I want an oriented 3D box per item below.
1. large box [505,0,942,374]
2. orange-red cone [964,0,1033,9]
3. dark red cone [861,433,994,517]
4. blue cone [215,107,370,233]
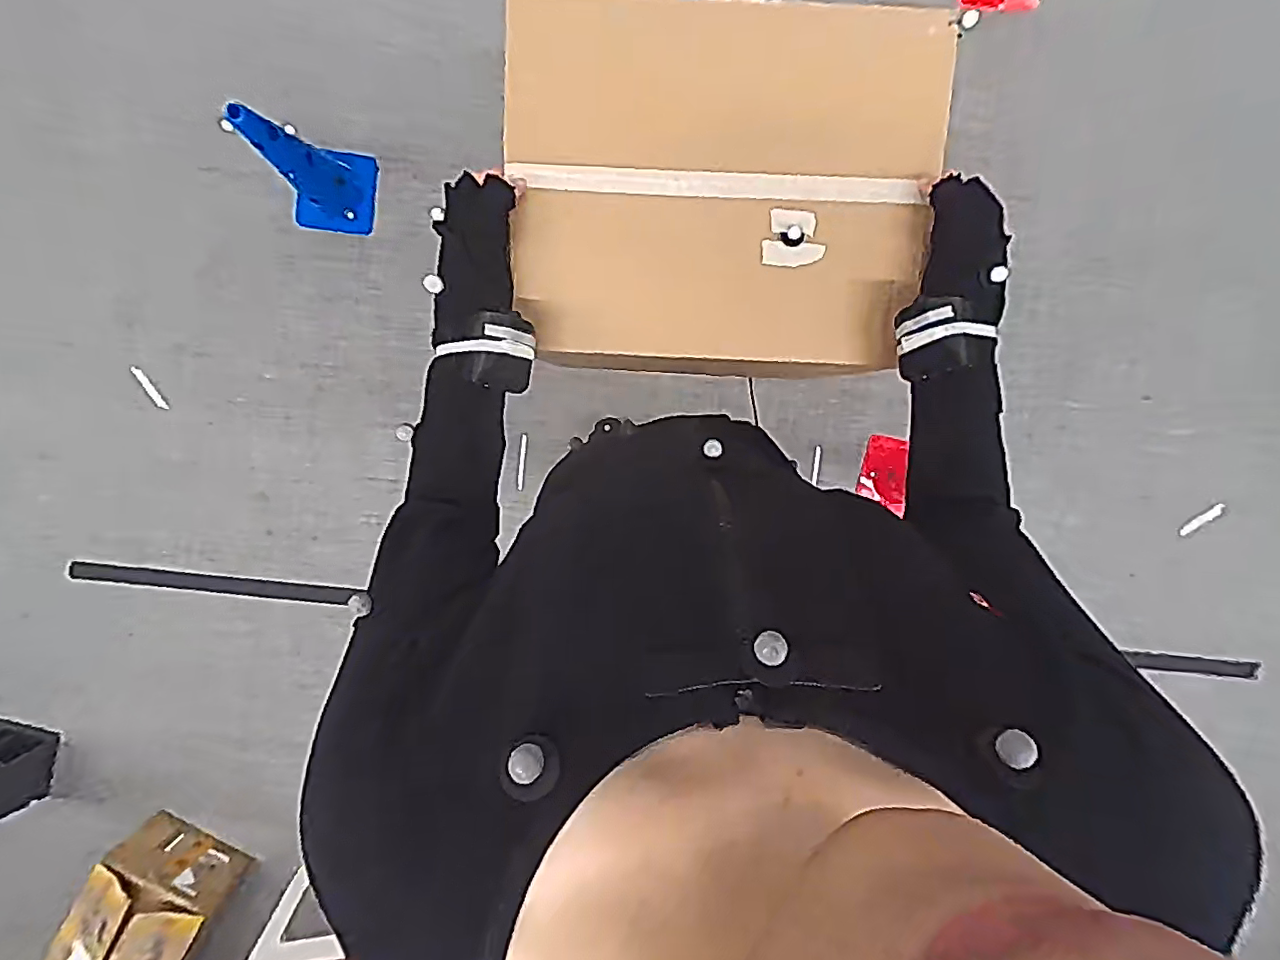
[{"bbox_3d":[0.069,-0.298,0.654,0.408,0.320,0.320,2,99,-1],"label":"large box"},{"bbox_3d":[0.901,-1.276,1.178,0.198,0.360,0.199,3,94,-1],"label":"orange-red cone"},{"bbox_3d":[0.699,0.005,1.277,0.201,0.394,0.202,12,95,0],"label":"dark red cone"},{"bbox_3d":[-0.801,-0.729,1.242,0.192,0.380,0.193,9,95,0],"label":"blue cone"}]
